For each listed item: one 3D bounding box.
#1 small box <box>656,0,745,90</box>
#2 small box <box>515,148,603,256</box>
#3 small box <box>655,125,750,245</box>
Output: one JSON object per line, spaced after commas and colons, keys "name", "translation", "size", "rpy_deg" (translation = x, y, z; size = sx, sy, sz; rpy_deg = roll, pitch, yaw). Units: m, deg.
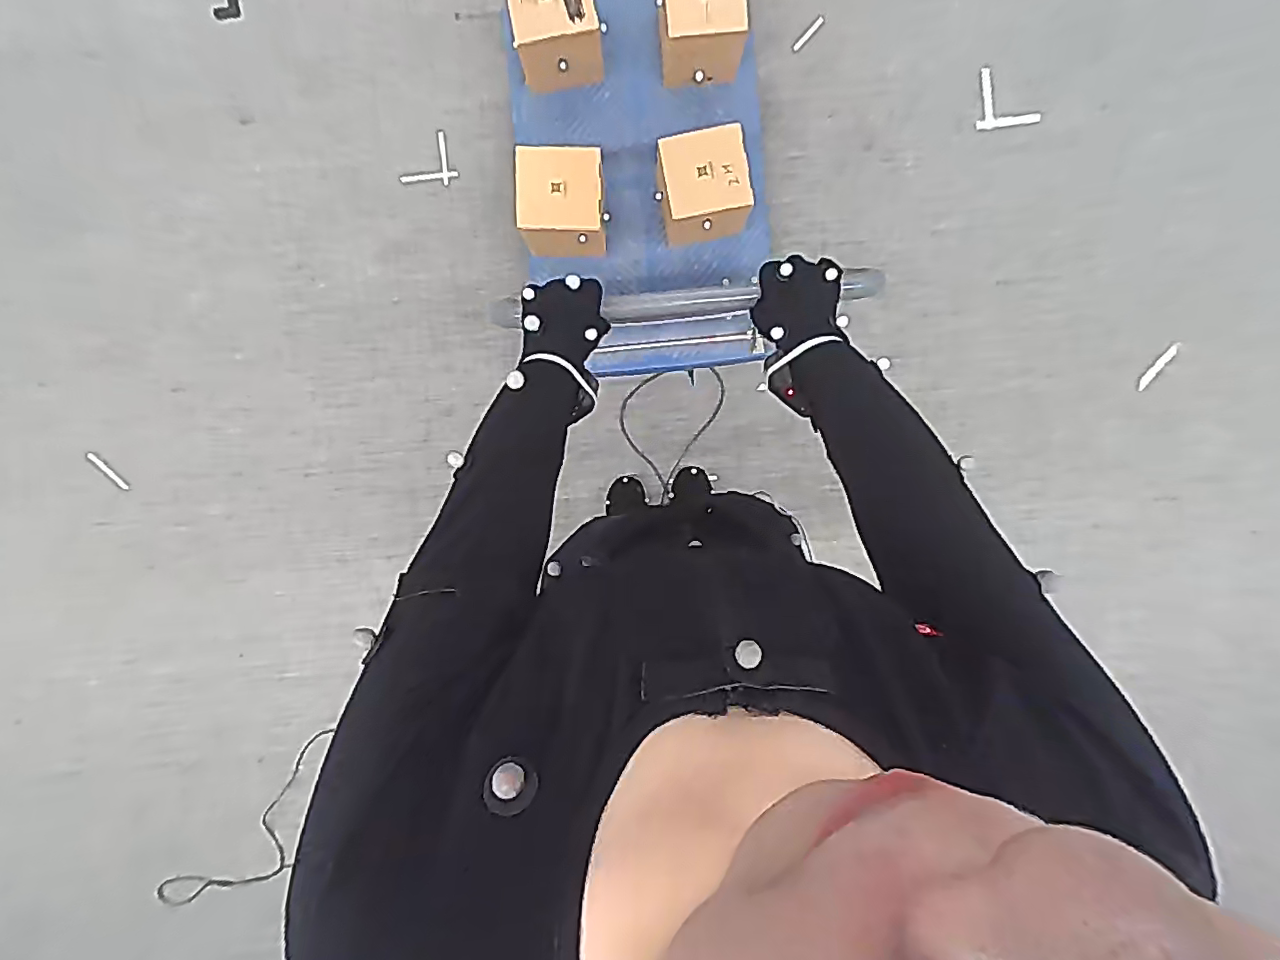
{"name": "small box", "translation": [0.126, -0.997, 1.175], "size": [0.168, 0.176, 0.179], "rpy_deg": [-5, 95, 0]}
{"name": "small box", "translation": [-0.174, -0.608, 1.202], "size": [0.179, 0.176, 0.168], "rpy_deg": [0, 94, -2]}
{"name": "small box", "translation": [0.132, -0.642, 1.201], "size": [0.179, 0.176, 0.168], "rpy_deg": [-11, 94, 1]}
